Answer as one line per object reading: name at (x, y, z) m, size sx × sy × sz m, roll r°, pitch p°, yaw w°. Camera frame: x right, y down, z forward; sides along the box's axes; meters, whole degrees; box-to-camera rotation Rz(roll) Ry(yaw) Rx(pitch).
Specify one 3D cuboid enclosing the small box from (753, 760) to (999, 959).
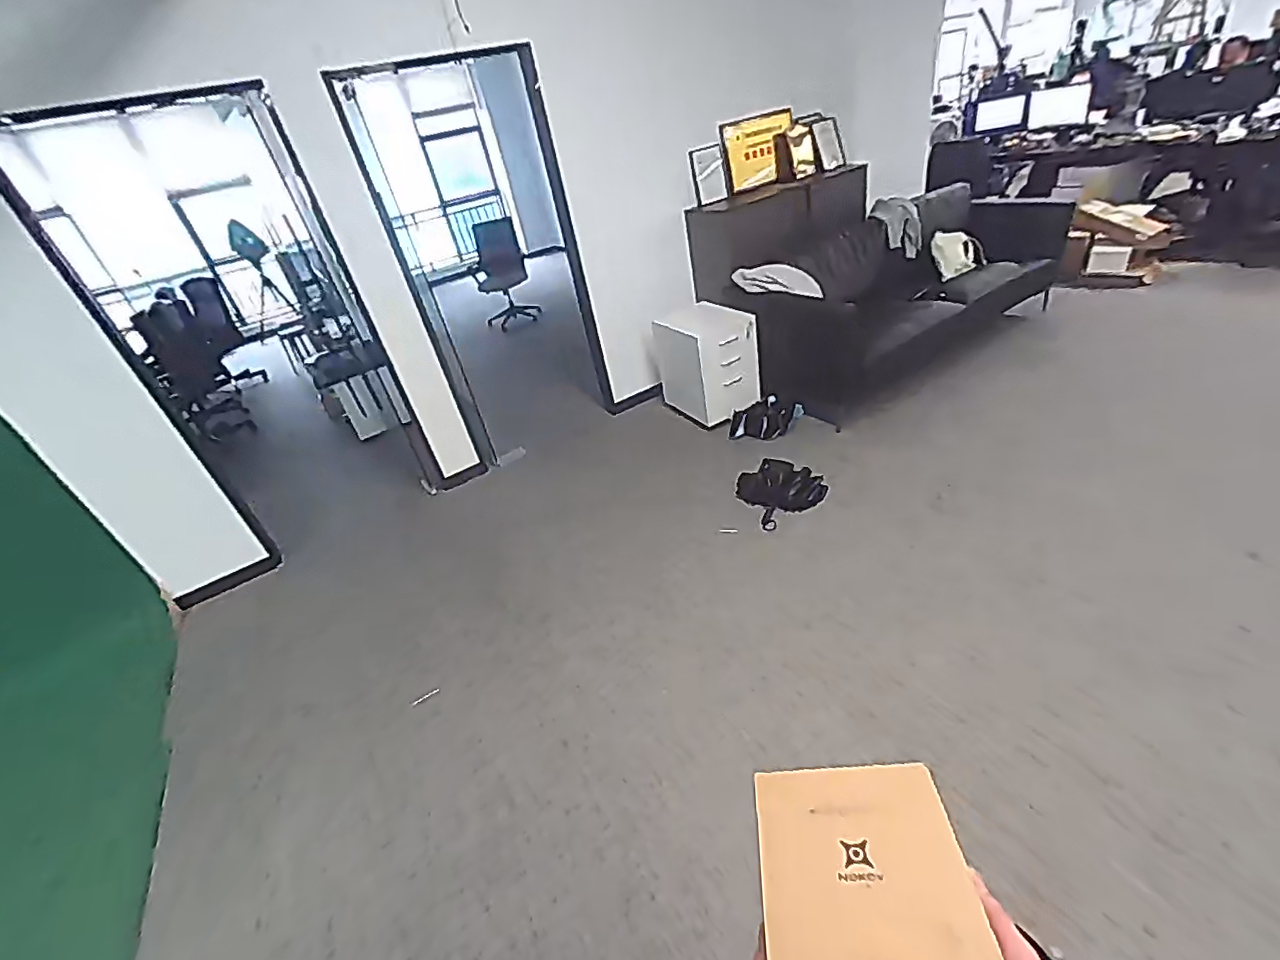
small box at (0.199, 0.389, 0.485) m, size 0.168 × 0.176 × 0.179 m, roll -9°, pitch 21°, yaw 12°
